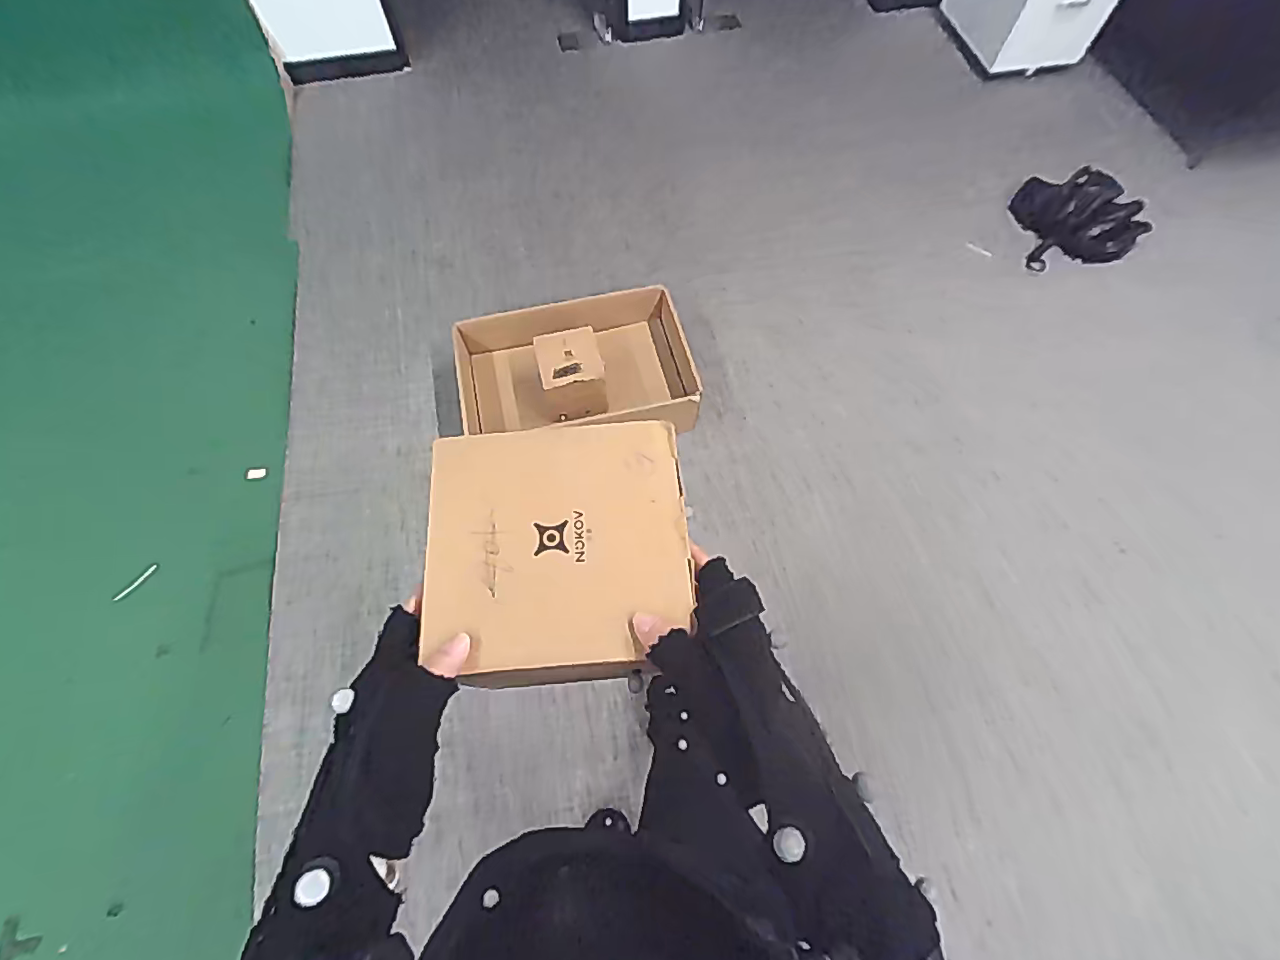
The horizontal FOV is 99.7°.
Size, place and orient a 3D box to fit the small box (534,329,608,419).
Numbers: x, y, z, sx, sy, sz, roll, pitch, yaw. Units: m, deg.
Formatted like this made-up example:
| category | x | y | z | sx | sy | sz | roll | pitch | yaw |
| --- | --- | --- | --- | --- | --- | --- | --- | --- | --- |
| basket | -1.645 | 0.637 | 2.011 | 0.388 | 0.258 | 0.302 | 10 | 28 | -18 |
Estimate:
| category | x | y | z | sx | sy | sz | roll | pitch | yaw |
| --- | --- | --- | --- | --- | --- | --- | --- | --- | --- |
| small box | -0.186 | -0.284 | 1.496 | 0.168 | 0.176 | 0.179 | -13 | 65 | -6 |

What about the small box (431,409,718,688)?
| category | x | y | z | sx | sy | sz | roll | pitch | yaw |
| --- | --- | --- | --- | --- | --- | --- | --- | --- | --- |
| small box | -0.050 | 0.065 | 0.429 | 0.179 | 0.176 | 0.168 | -9 | 67 | -4 |
